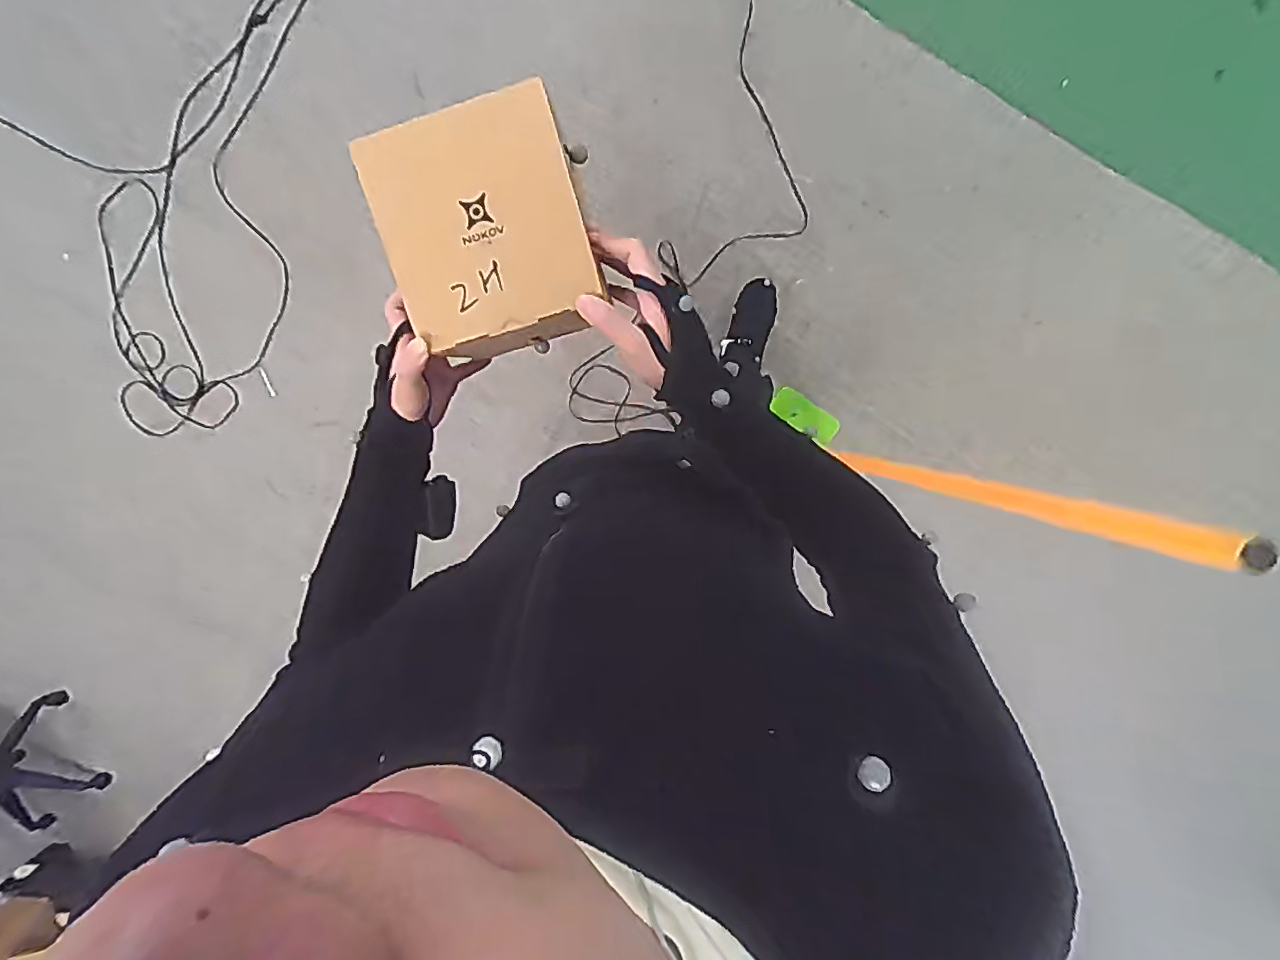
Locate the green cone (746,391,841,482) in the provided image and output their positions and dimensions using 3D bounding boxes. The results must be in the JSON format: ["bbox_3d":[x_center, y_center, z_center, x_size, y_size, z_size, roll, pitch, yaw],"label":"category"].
[{"bbox_3d":[0.406,-0.088,1.333,0.202,0.368,0.200,33,102,0],"label":"green cone"}]
